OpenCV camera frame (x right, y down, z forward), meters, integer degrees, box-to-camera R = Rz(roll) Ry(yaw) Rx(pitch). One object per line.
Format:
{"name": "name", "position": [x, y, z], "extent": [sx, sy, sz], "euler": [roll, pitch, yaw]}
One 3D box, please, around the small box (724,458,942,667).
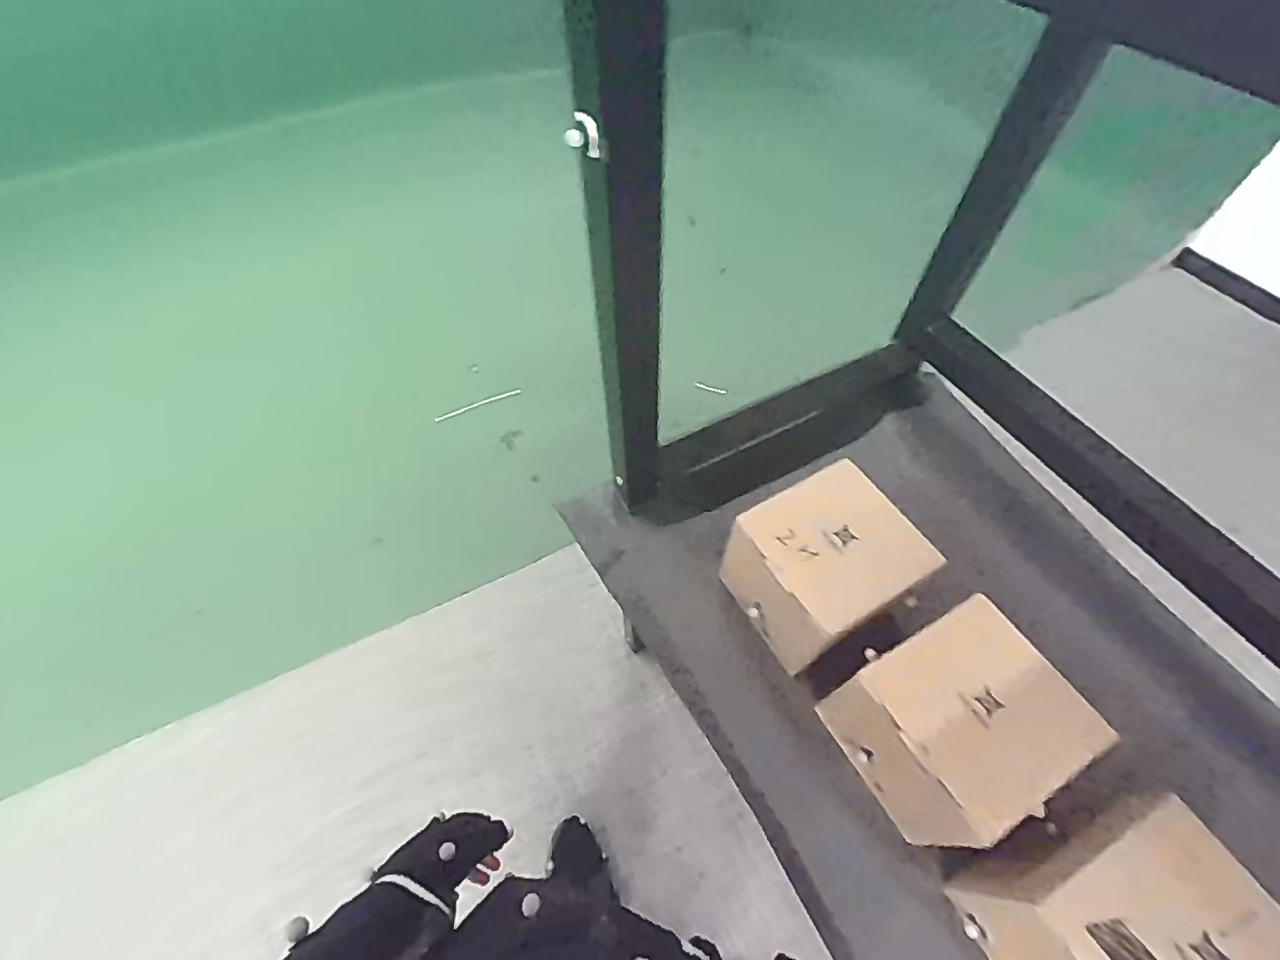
{"name": "small box", "position": [0.227, 0.109, 0.687], "extent": [0.179, 0.176, 0.168], "euler": [-26, 60, -16]}
